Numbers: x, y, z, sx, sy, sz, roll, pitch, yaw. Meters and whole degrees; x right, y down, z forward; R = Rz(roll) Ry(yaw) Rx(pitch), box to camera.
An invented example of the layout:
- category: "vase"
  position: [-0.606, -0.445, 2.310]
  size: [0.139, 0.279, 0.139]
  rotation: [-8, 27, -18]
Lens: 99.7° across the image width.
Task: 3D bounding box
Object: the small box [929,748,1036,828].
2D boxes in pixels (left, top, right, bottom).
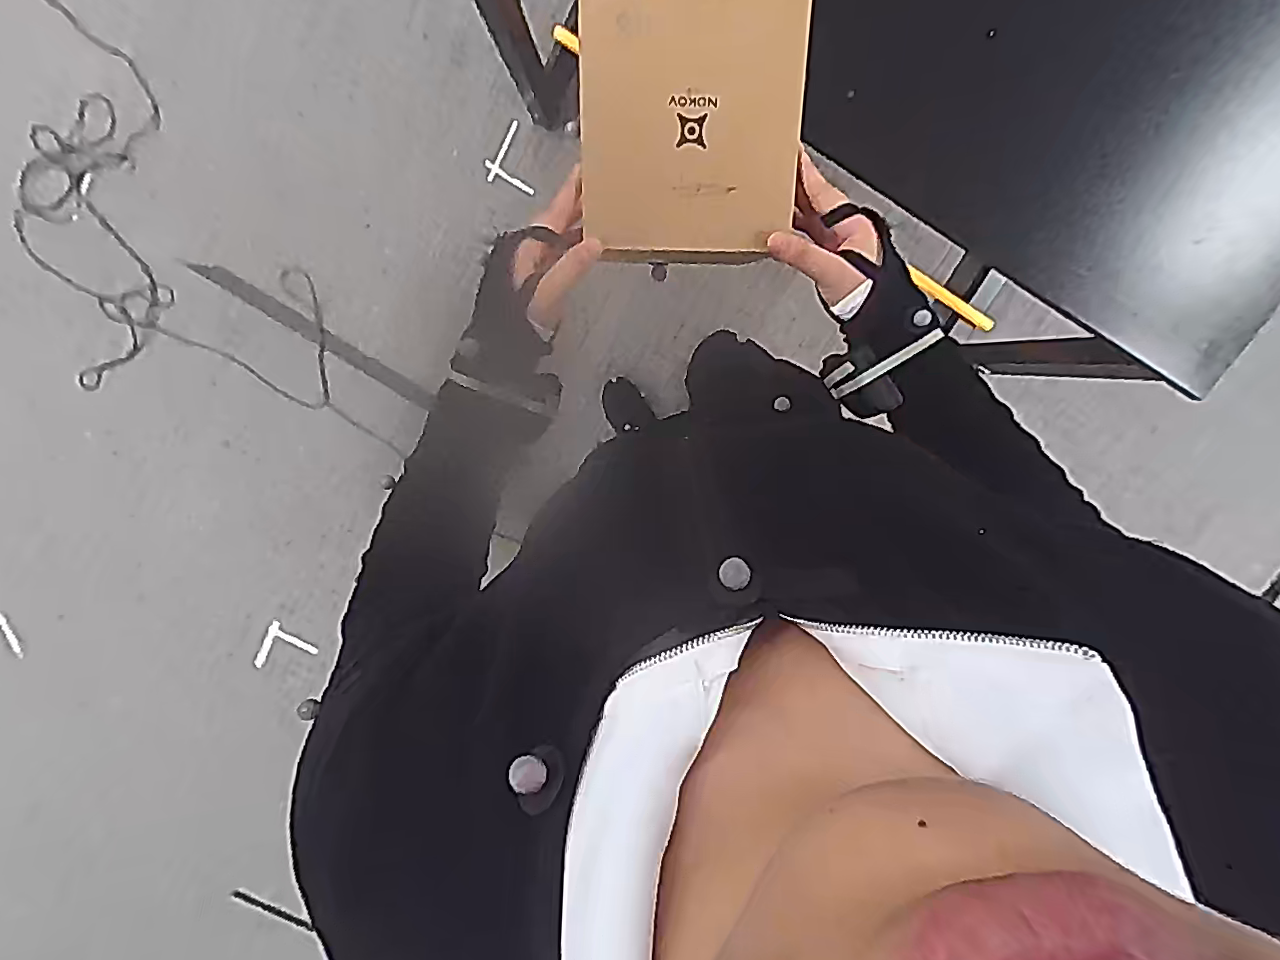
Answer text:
- category: "small box"
  position: [1.014, 0.943, 1.618]
  size: [0.179, 0.176, 0.168]
  rotation: [28, 102, -4]

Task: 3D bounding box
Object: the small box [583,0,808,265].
- category: "small box"
  position: [0.034, -0.295, 0.484]
  size: [0.168, 0.176, 0.179]
  rotation: [0, 108, -3]

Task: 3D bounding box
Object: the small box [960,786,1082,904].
- category: "small box"
  position: [1.010, 0.972, 1.455]
  size: [0.168, 0.176, 0.179]
  rotation: [28, 103, -5]
